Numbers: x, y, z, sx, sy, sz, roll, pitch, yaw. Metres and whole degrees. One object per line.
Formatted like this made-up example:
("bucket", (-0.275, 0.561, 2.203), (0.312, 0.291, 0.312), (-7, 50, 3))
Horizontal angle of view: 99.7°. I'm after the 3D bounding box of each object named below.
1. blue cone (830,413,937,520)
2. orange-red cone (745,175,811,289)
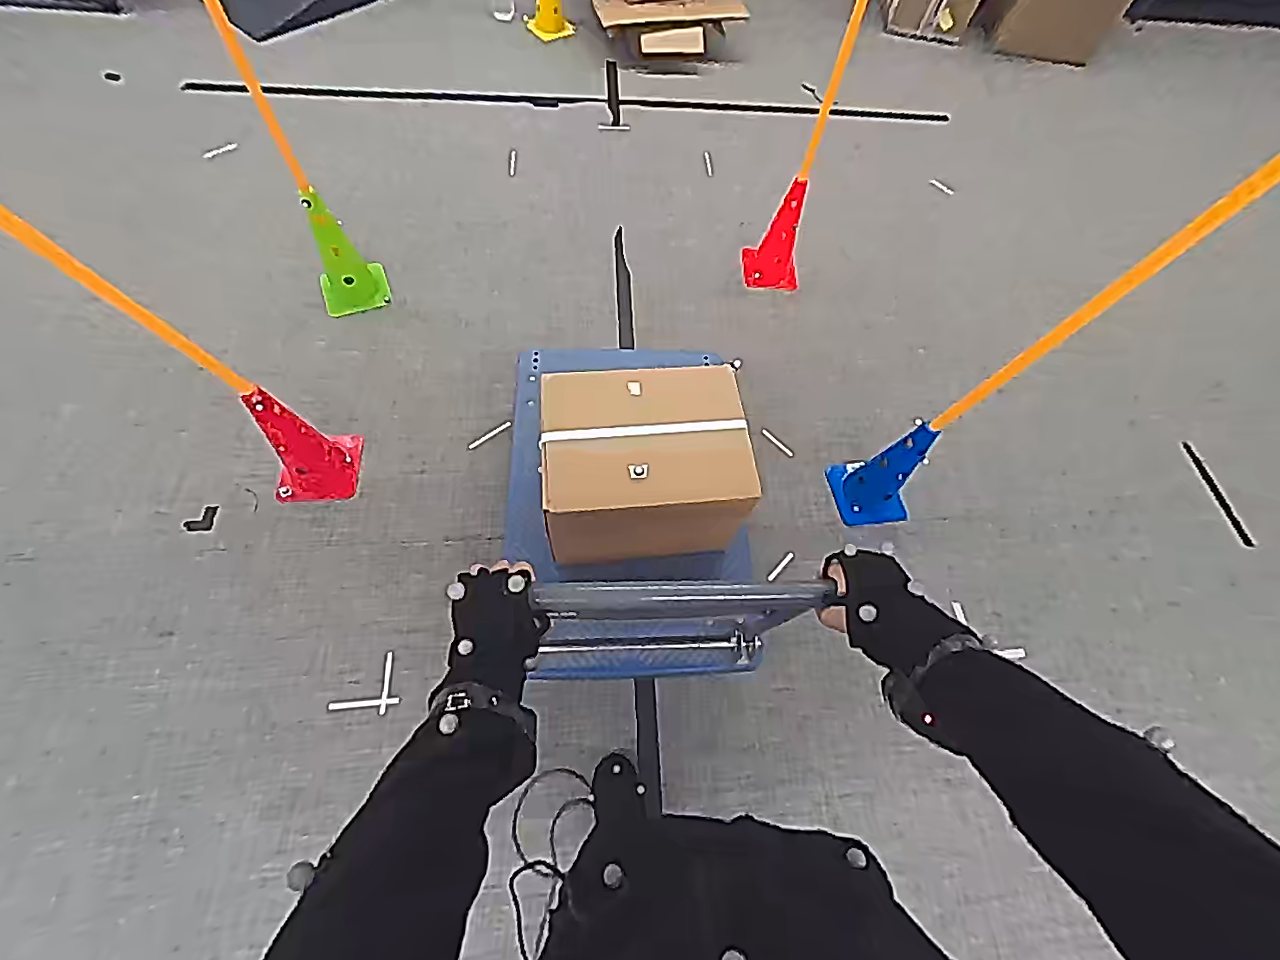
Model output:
("blue cone", (0.683, -0.049, 1.453), (0.193, 0.380, 0.192), (-5, 62, -8))
("orange-red cone", (0.499, -0.856, 1.834), (0.199, 0.360, 0.198), (5, 63, -4))
